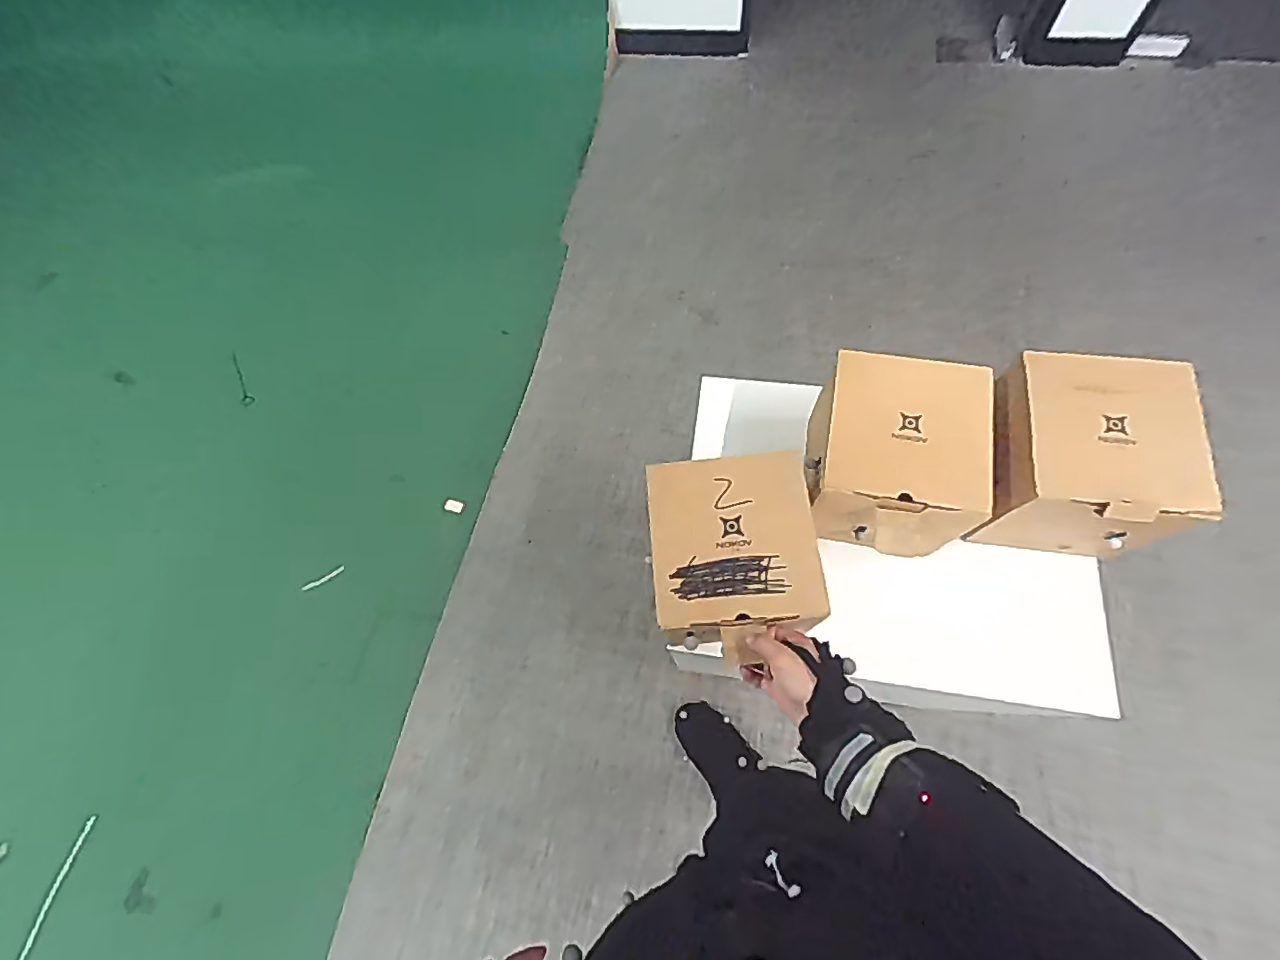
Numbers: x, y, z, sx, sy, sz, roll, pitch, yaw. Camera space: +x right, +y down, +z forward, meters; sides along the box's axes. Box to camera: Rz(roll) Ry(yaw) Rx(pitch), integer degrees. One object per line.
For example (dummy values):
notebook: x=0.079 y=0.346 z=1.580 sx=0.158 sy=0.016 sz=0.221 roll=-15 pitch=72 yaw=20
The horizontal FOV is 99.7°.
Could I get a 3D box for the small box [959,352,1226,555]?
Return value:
small box: x=0.492 y=-0.021 z=0.621 sx=0.168 sy=0.176 sz=0.179 roll=7 pitch=69 yaw=8
